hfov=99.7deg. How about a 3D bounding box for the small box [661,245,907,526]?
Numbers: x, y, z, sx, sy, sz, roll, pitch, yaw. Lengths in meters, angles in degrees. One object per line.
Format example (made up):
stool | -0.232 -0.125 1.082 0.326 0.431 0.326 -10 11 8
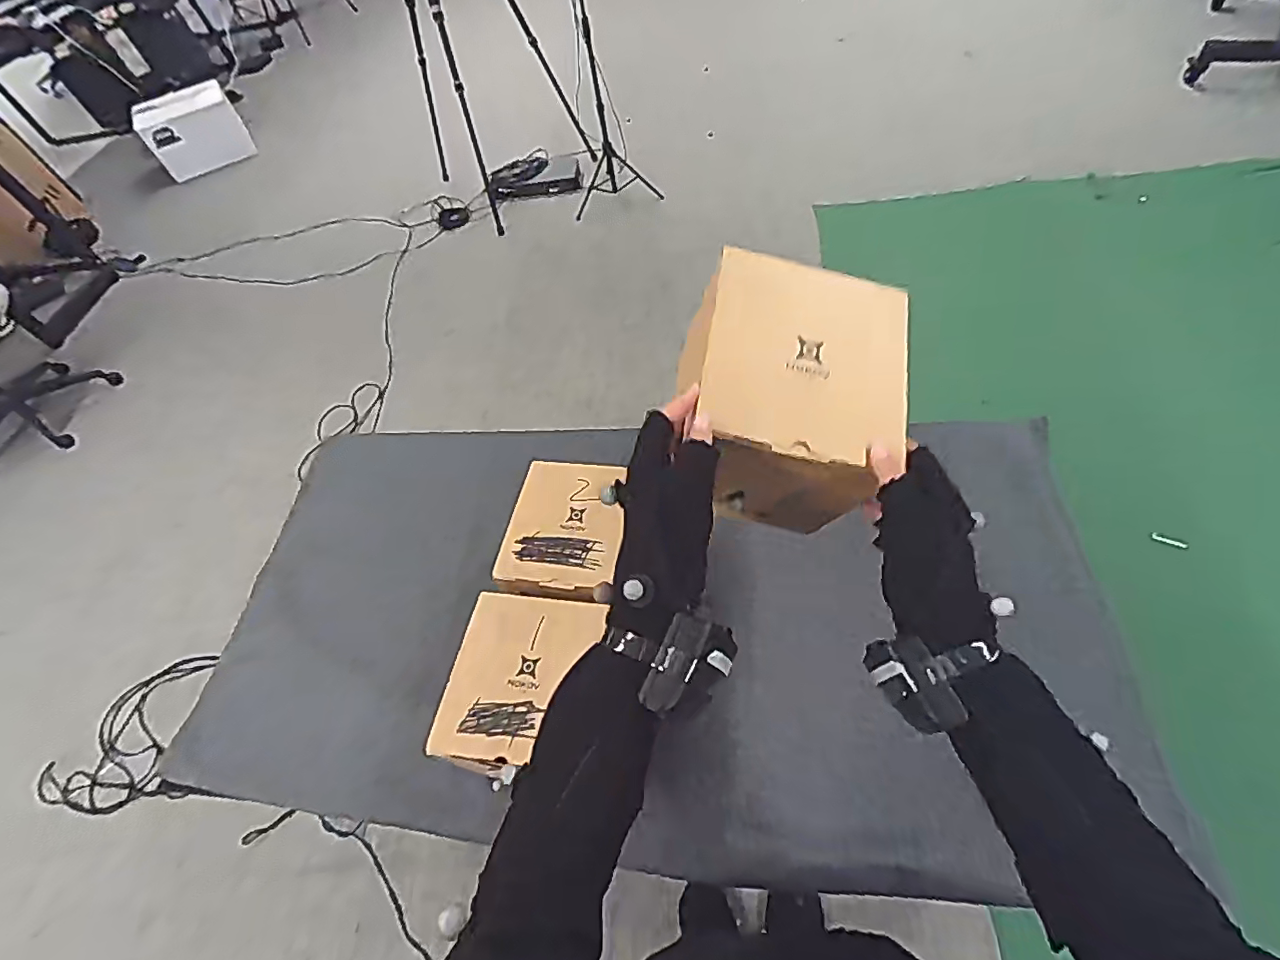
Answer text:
small box | 0.120 -0.073 0.498 0.168 0.176 0.179 12 70 -3
